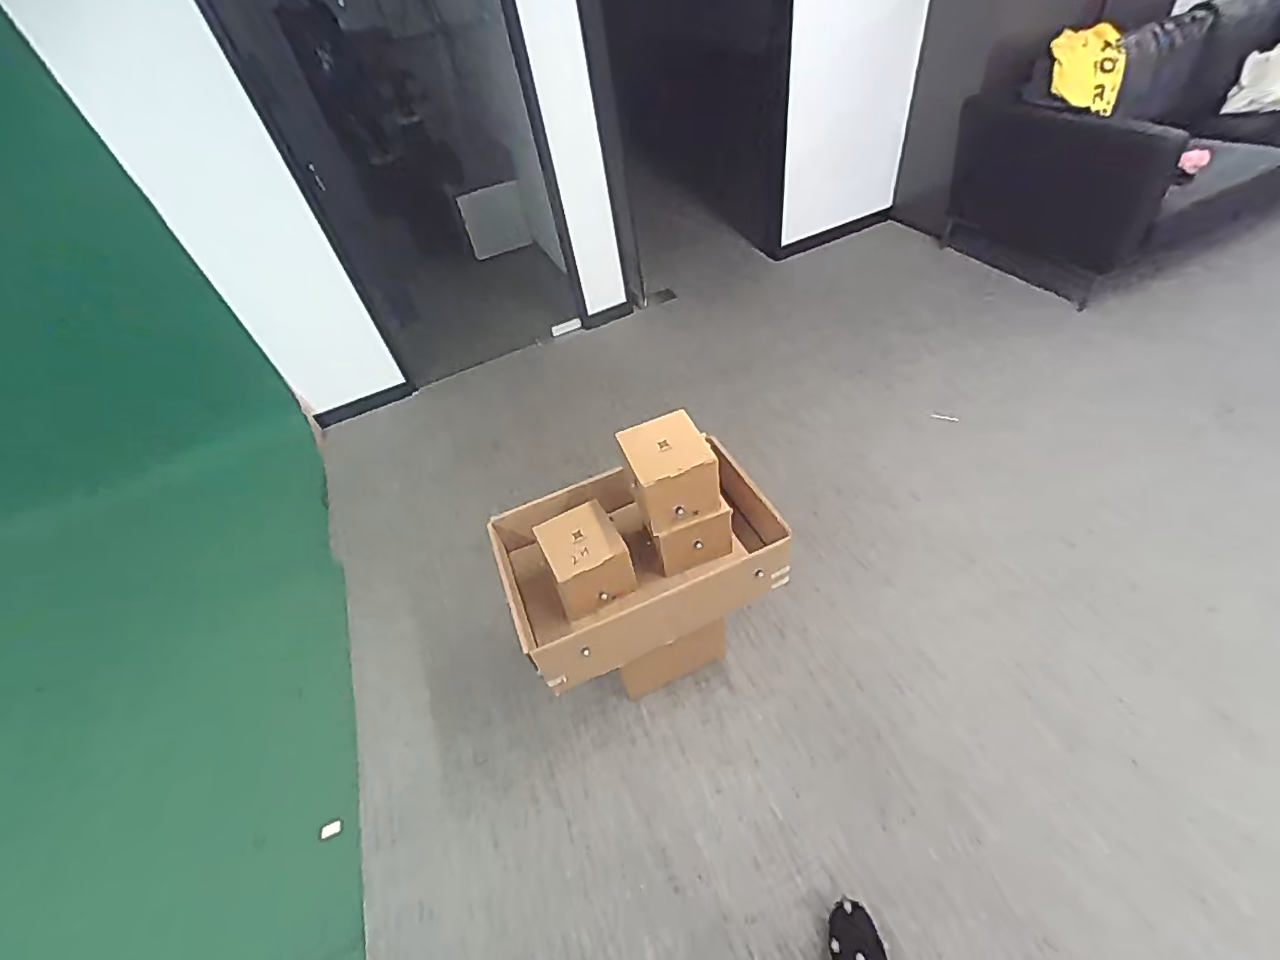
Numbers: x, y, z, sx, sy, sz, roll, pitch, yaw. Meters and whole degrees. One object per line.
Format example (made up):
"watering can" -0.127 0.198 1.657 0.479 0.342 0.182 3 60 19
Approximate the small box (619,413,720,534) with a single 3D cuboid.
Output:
"small box" 0.066 -0.013 1.185 0.168 0.176 0.179 -21 46 -8

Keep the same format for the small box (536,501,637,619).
"small box" -0.122 0.186 1.254 0.168 0.176 0.179 -24 48 -13
